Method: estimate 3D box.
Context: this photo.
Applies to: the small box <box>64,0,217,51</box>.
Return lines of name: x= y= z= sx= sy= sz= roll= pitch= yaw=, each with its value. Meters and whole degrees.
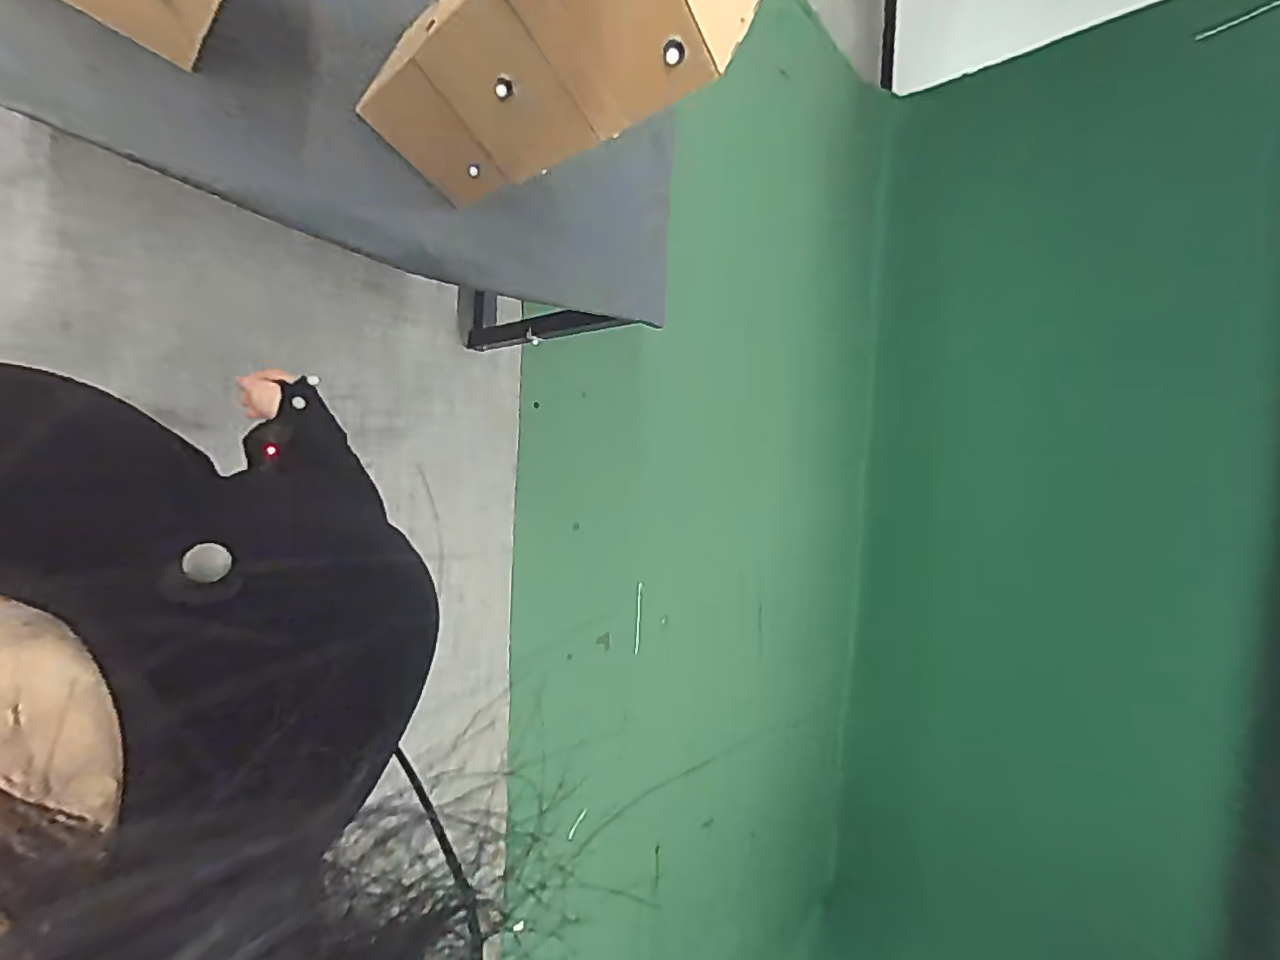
small box: x=-0.485 y=-0.540 z=0.486 sx=0.179 sy=0.176 sz=0.168 roll=13 pitch=82 yaw=-48

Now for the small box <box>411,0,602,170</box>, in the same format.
small box: x=-0.127 y=-0.503 z=0.641 sx=0.179 sy=0.176 sz=0.168 roll=44 pitch=61 yaw=-41

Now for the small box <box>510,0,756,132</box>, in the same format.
small box: x=-0.008 y=-0.494 z=0.531 sx=0.179 sy=0.176 sz=0.168 roll=42 pitch=62 yaw=-42
